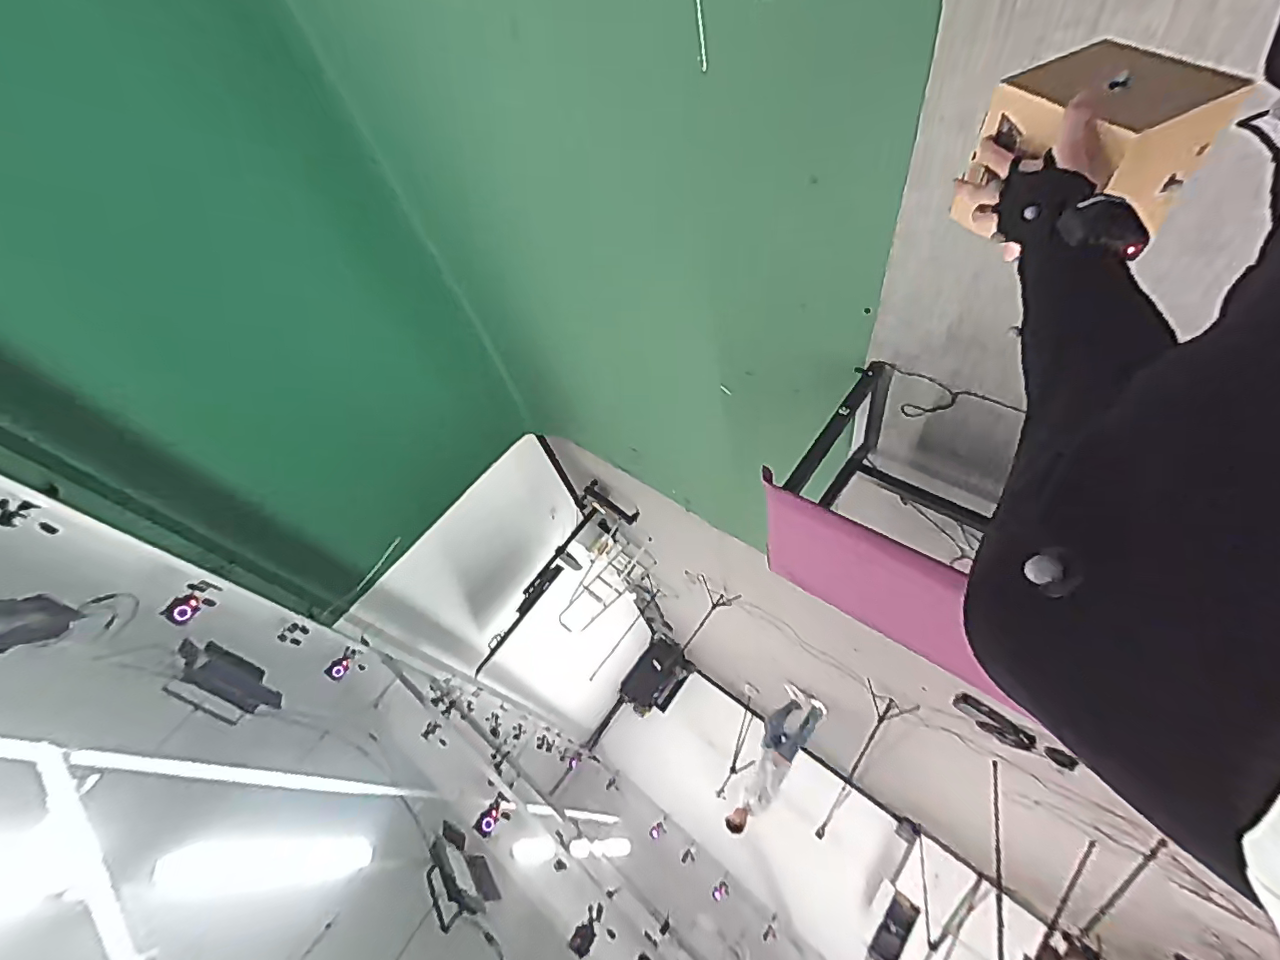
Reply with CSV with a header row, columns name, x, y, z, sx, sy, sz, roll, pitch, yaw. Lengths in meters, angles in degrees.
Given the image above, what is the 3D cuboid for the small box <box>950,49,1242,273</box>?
name,x,y,z,sx,sy,sz,roll,pitch,yaw
small box,0.533,-0.391,0.659,0.179,0.176,0.168,57,169,35
